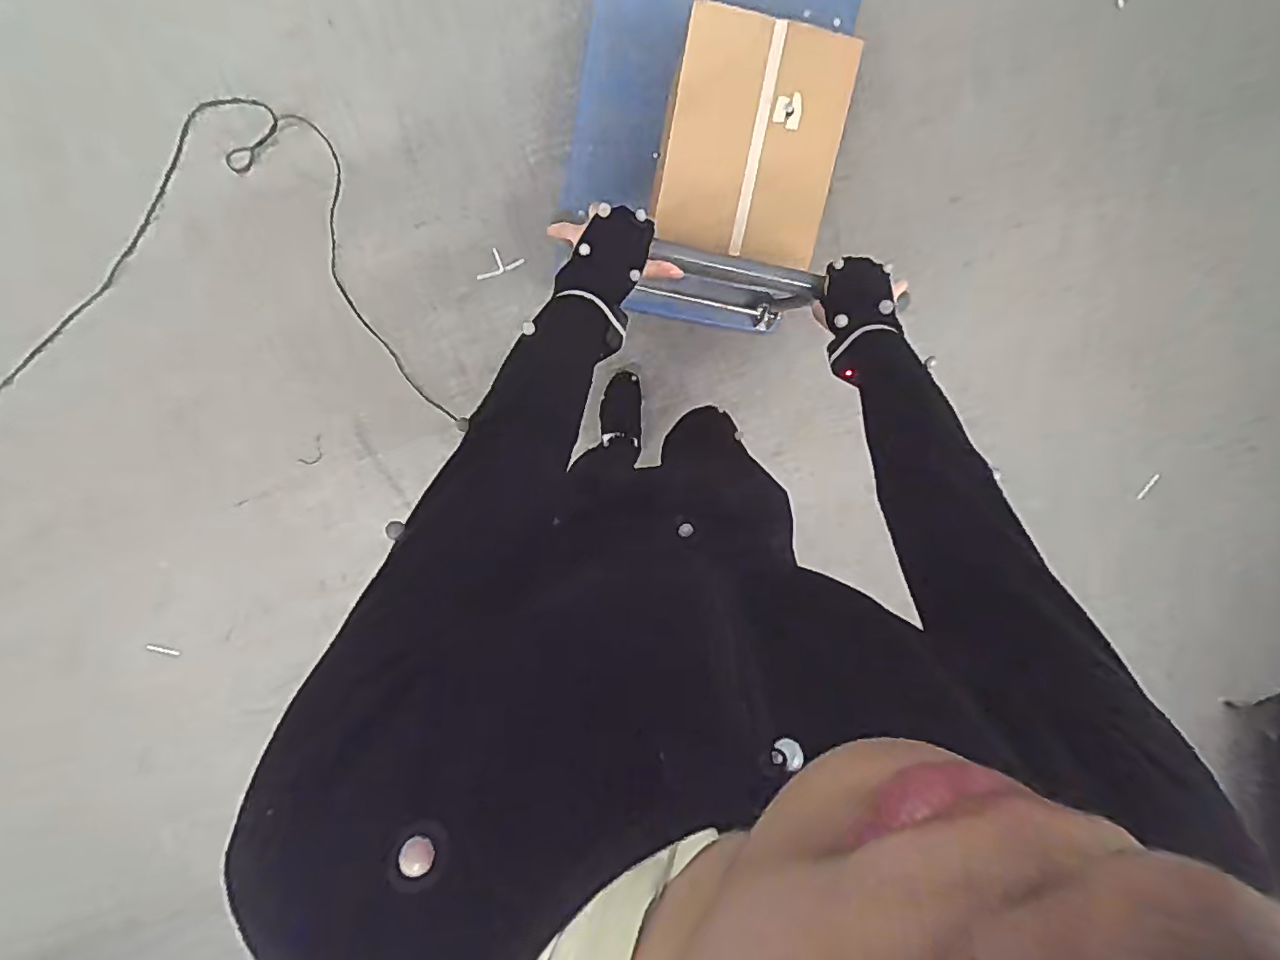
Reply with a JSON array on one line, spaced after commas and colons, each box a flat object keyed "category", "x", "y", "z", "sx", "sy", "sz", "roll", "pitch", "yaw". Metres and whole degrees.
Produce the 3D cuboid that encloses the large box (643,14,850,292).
[{"category": "large box", "x": 0.194, "y": -0.645, "z": 1.156, "sx": 0.320, "sy": 0.320, "sz": 0.408, "roll": 9, "pitch": 103, "yaw": -7}]
